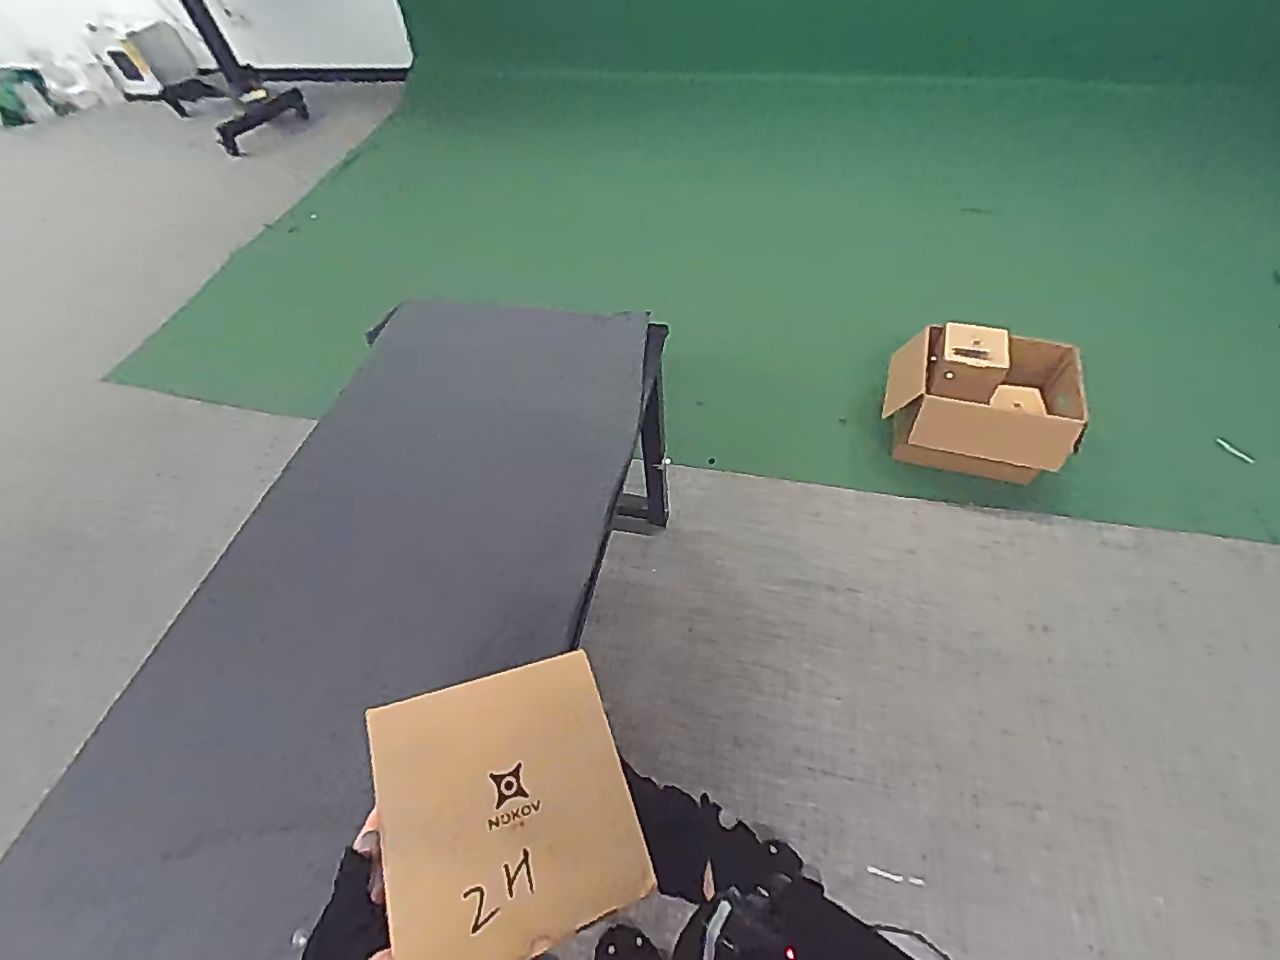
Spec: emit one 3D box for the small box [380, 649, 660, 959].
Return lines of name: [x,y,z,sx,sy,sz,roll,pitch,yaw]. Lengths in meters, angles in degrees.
small box: [-0.107,0.264,0.435,0.168,0.176,0.179,-8,58,-23]
